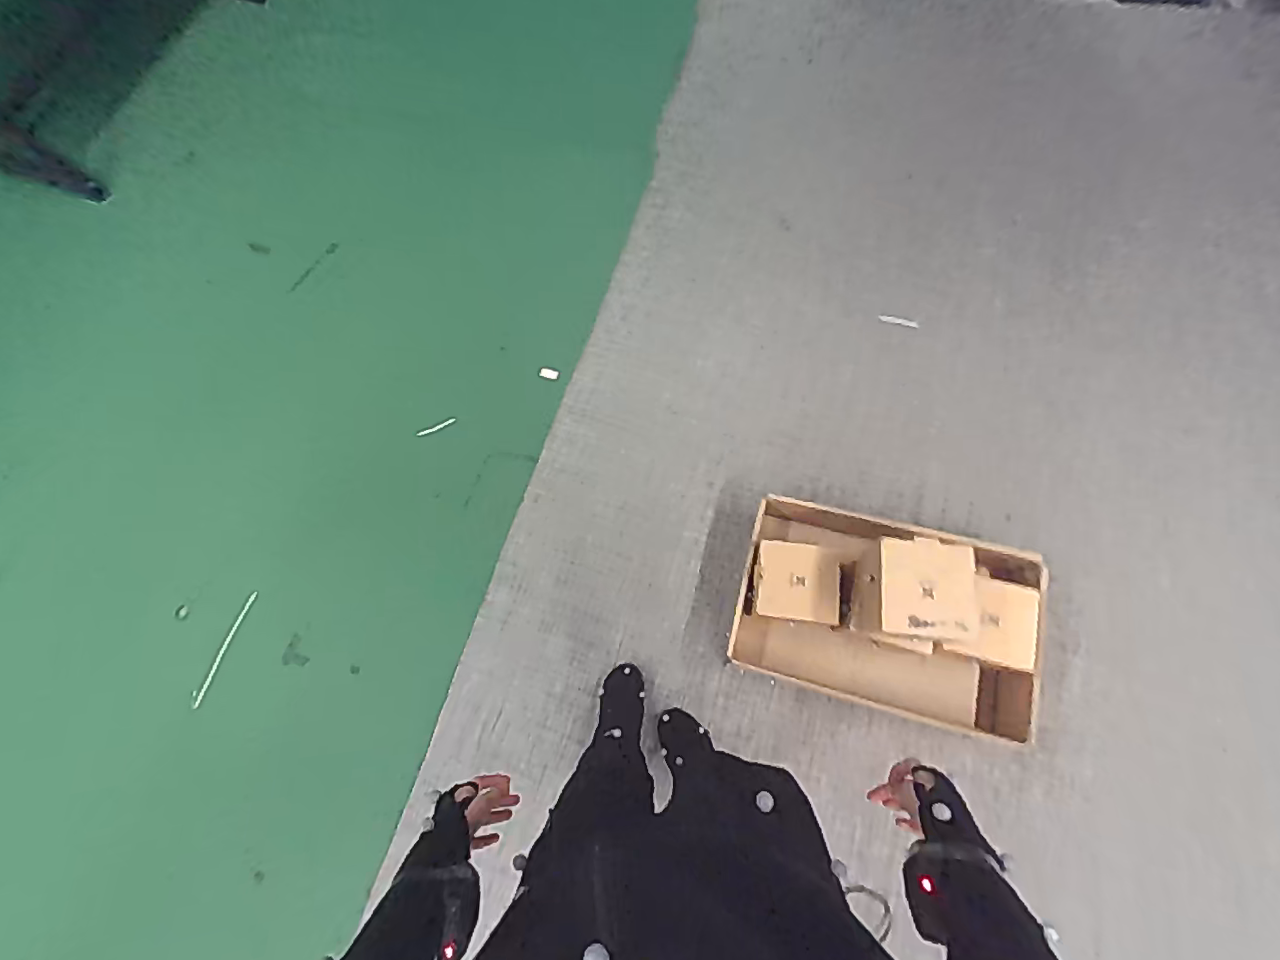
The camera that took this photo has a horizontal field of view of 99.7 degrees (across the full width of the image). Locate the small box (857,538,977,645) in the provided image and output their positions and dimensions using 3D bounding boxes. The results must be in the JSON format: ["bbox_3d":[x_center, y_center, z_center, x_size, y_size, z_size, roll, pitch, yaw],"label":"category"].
[{"bbox_3d":[0.534,0.223,1.065,0.168,0.176,0.179,5,73,9],"label":"small box"}]
